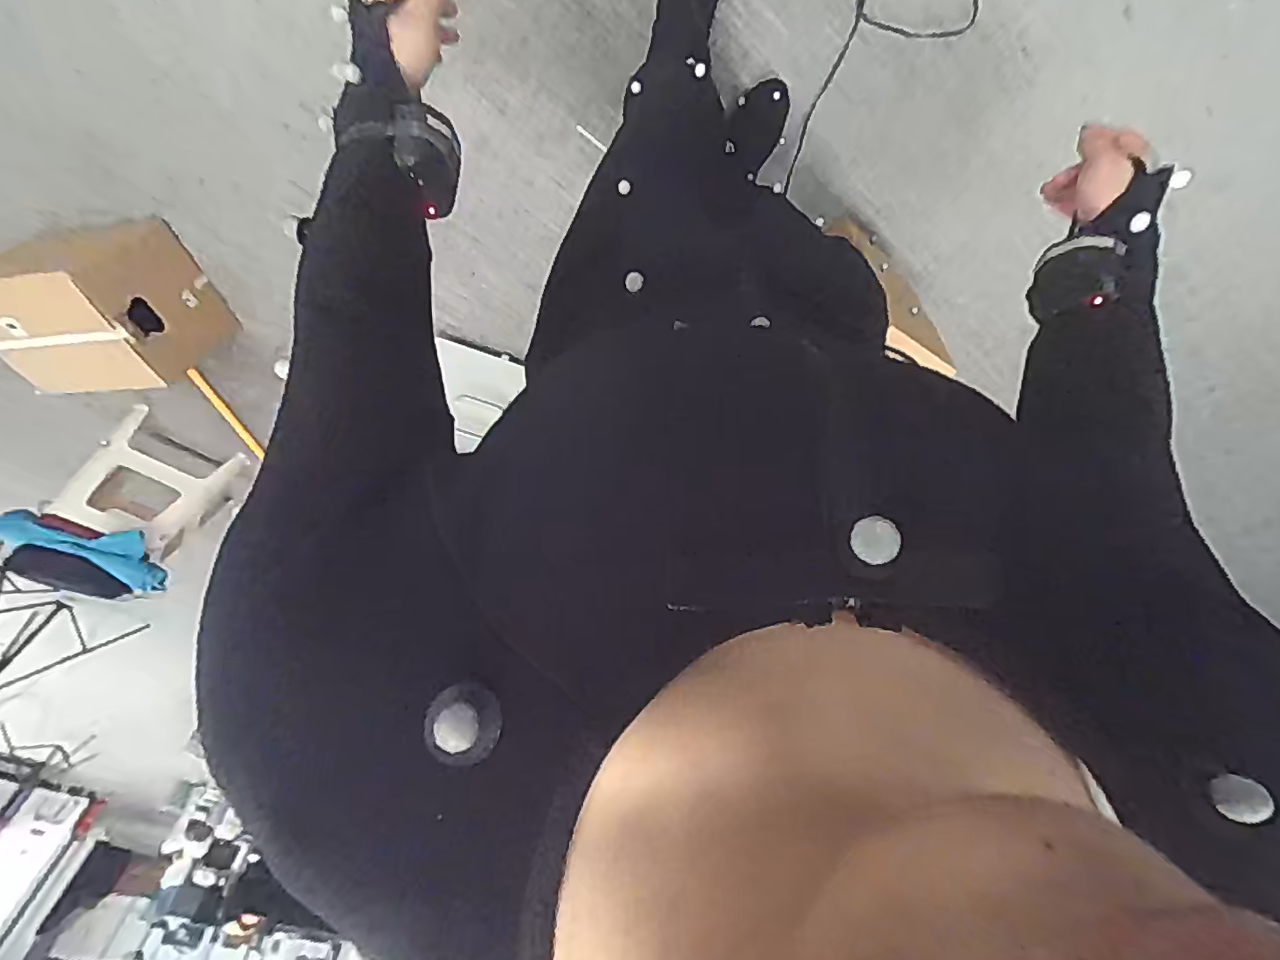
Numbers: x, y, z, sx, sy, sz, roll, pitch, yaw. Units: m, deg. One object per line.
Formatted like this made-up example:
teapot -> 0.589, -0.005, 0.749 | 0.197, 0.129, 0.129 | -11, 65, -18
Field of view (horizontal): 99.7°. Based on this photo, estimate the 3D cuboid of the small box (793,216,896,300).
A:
small box -> 0.475, -0.482, 1.258 | 0.179, 0.176, 0.168 | 30, 133, -22

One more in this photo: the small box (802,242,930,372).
small box -> 0.465, -0.370, 1.140 | 0.179, 0.176, 0.168 | 26, 135, -21
